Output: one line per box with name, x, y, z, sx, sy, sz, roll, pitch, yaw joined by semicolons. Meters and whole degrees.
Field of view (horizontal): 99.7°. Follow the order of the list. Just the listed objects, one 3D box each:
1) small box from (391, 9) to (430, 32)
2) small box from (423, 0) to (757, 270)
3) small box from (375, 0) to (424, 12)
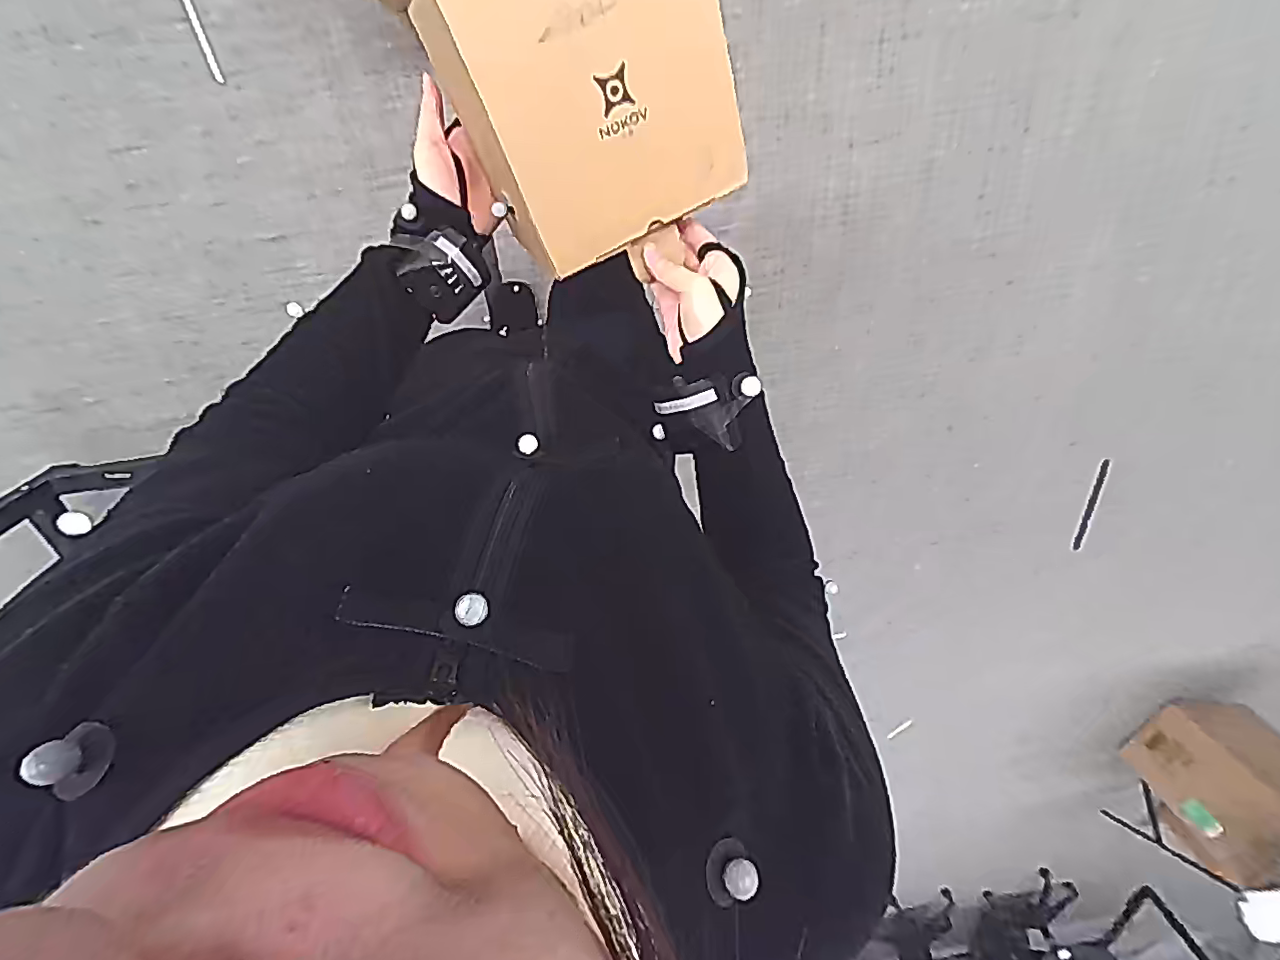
small box;-0.345;-0.890;0.921;0.168;0.176;0.179;-8;121;-4
small box;-0.038;-0.290;0.401;0.168;0.176;0.179;-29;130;-6
small box;-0.329;-0.808;0.779;0.179;0.176;0.168;-12;121;-2
